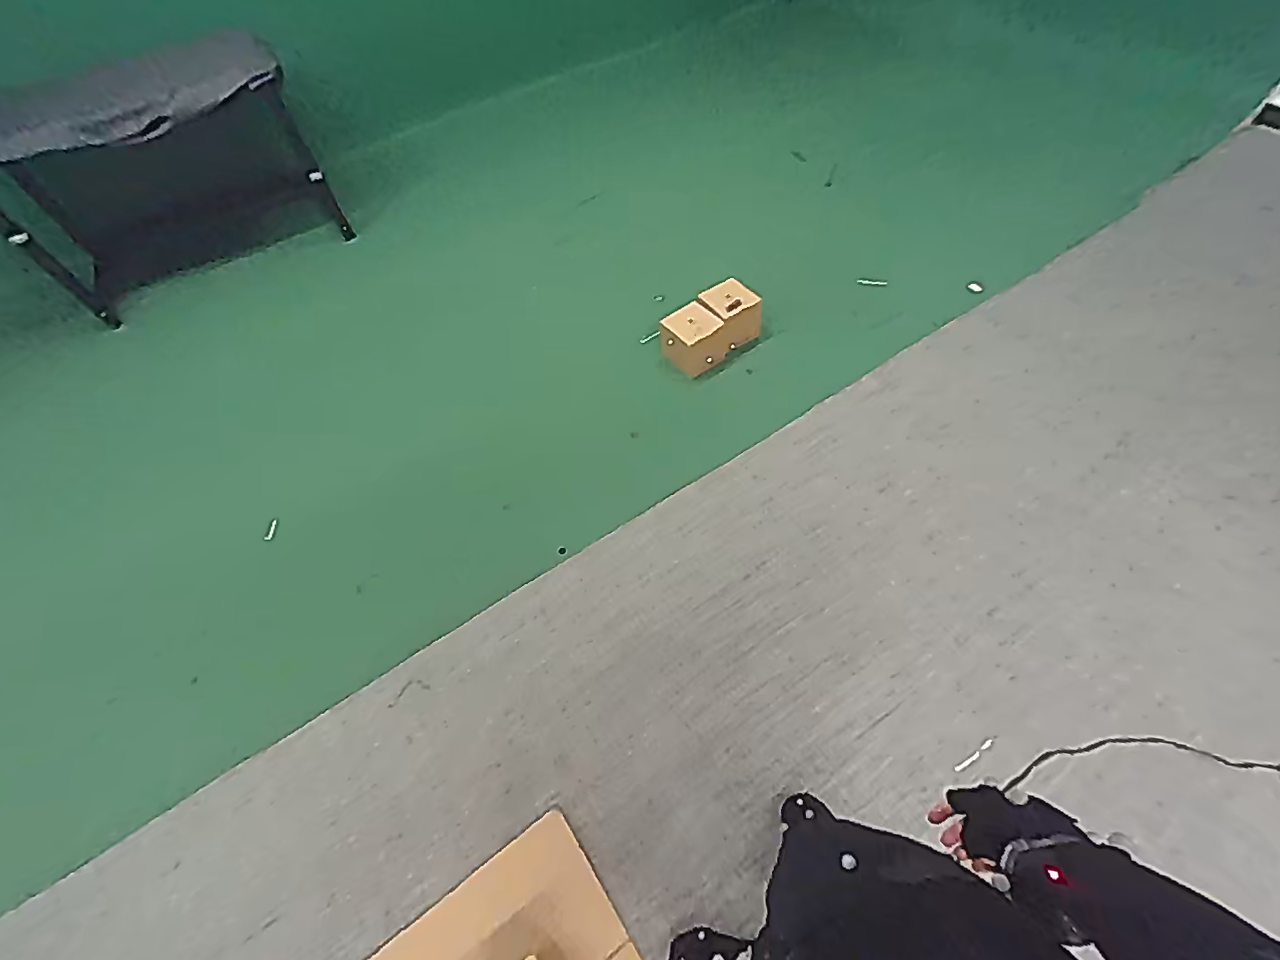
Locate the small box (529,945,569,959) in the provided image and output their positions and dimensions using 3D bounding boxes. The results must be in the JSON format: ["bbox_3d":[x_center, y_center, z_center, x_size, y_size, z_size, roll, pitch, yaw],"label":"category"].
[{"bbox_3d":[-0.200,1.016,1.000,0.179,0.176,0.168,-35,58,-16],"label":"small box"}]
